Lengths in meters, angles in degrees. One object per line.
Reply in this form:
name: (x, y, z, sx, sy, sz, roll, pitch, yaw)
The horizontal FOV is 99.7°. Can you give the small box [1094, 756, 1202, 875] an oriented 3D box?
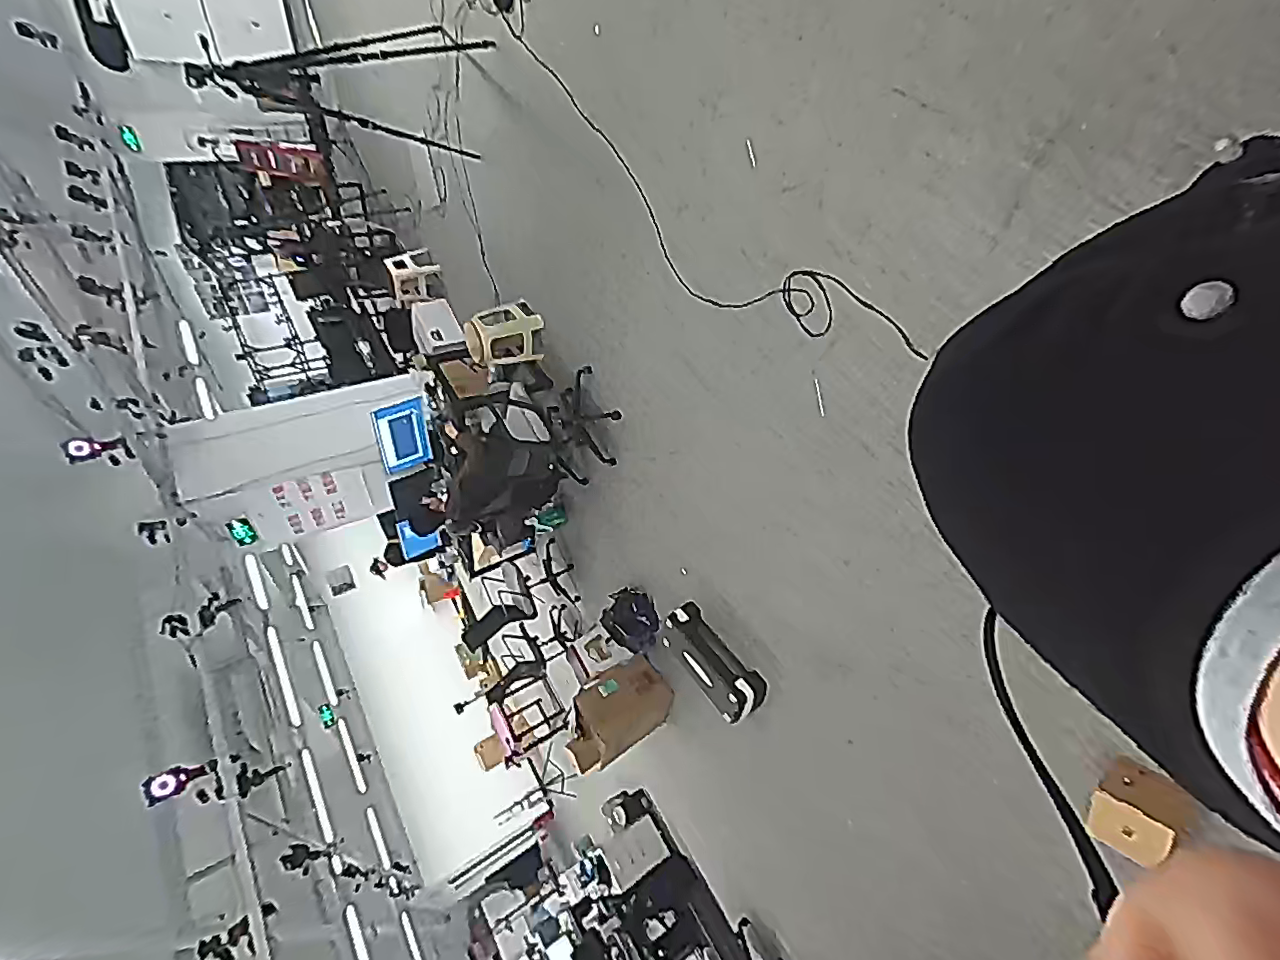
small box: (1.370, 0.893, 1.459, 0.168, 0.176, 0.179, 21, 129, 55)
